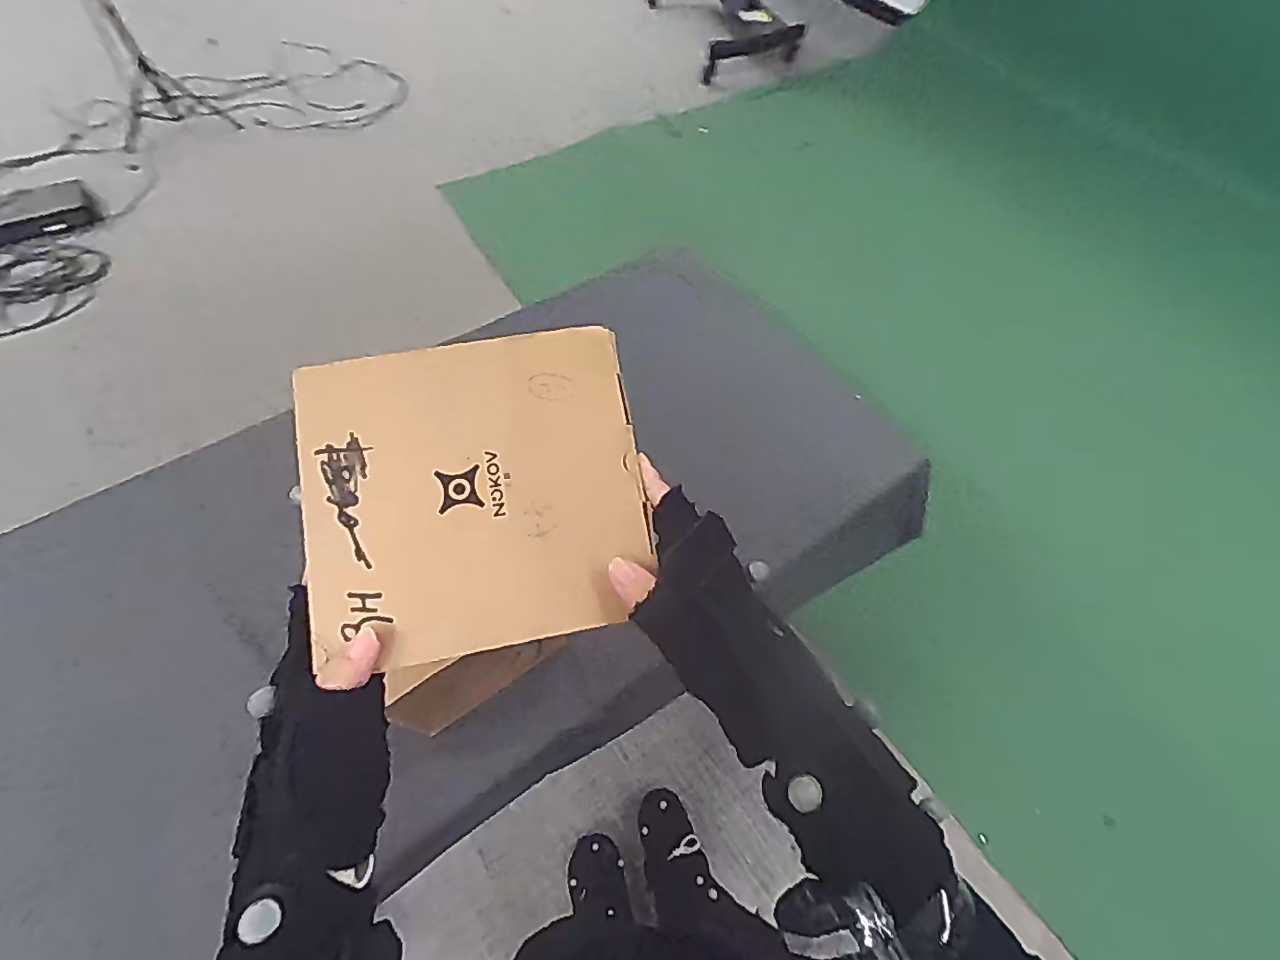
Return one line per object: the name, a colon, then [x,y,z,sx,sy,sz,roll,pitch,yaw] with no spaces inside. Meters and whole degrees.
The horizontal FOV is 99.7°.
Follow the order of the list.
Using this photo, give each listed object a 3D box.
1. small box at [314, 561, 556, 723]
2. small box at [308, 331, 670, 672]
small box: [-0.203,0.135,0.589,0.179,0.176,0.168,-33,65,-18]
small box: [-0.090,0.020,0.366,0.179,0.176,0.168,-9,78,-7]
